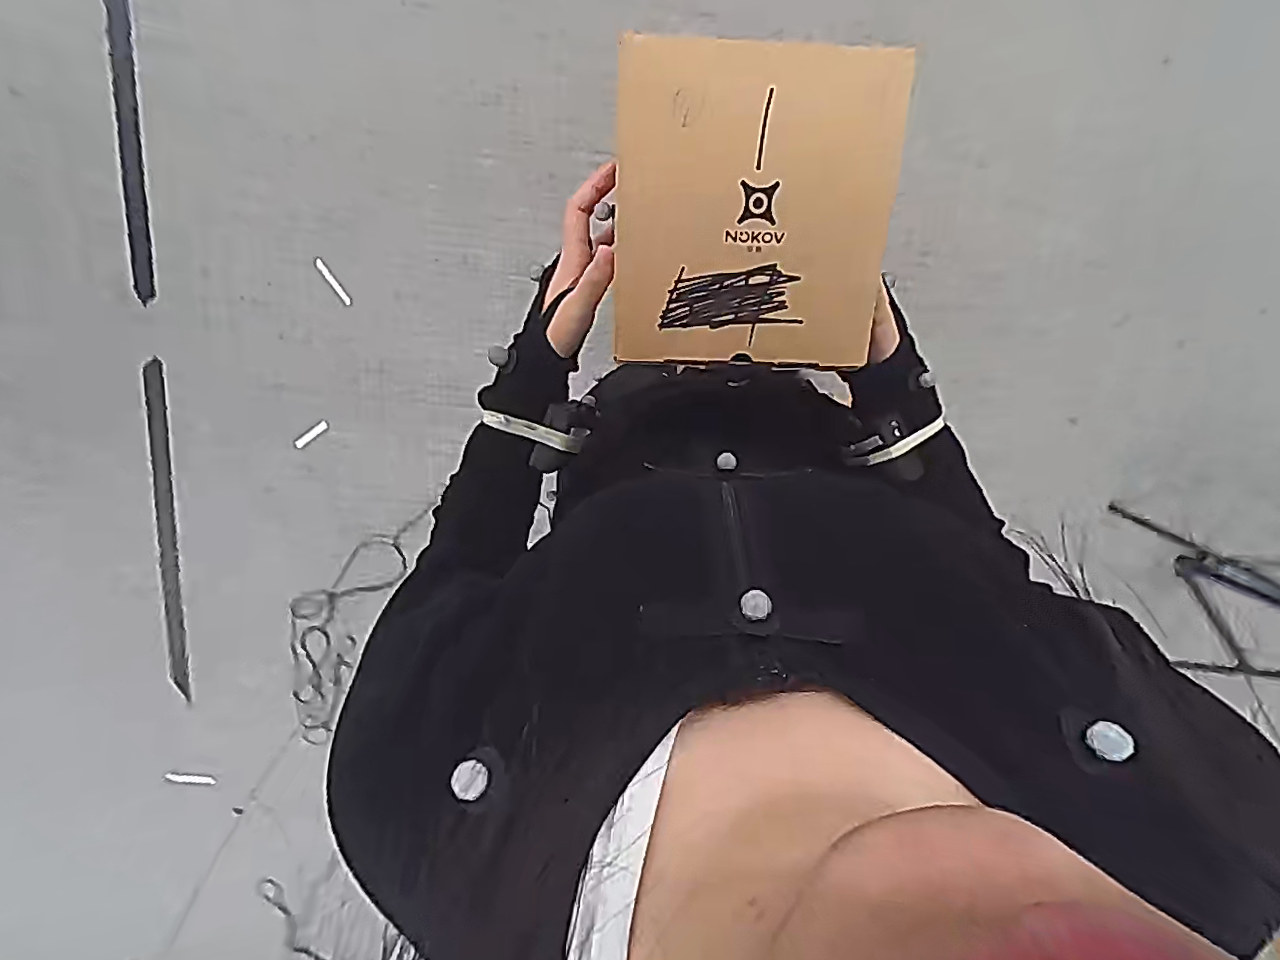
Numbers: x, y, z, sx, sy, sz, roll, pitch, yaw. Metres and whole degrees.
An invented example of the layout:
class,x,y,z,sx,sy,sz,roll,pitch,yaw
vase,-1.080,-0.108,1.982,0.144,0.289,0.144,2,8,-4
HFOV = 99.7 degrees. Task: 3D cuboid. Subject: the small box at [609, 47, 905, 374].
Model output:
class,x,y,z,sx,sy,sz,roll,pitch,yaw
small box,0.061,-0.179,0.399,0.168,0.176,0.179,-1,109,-3
